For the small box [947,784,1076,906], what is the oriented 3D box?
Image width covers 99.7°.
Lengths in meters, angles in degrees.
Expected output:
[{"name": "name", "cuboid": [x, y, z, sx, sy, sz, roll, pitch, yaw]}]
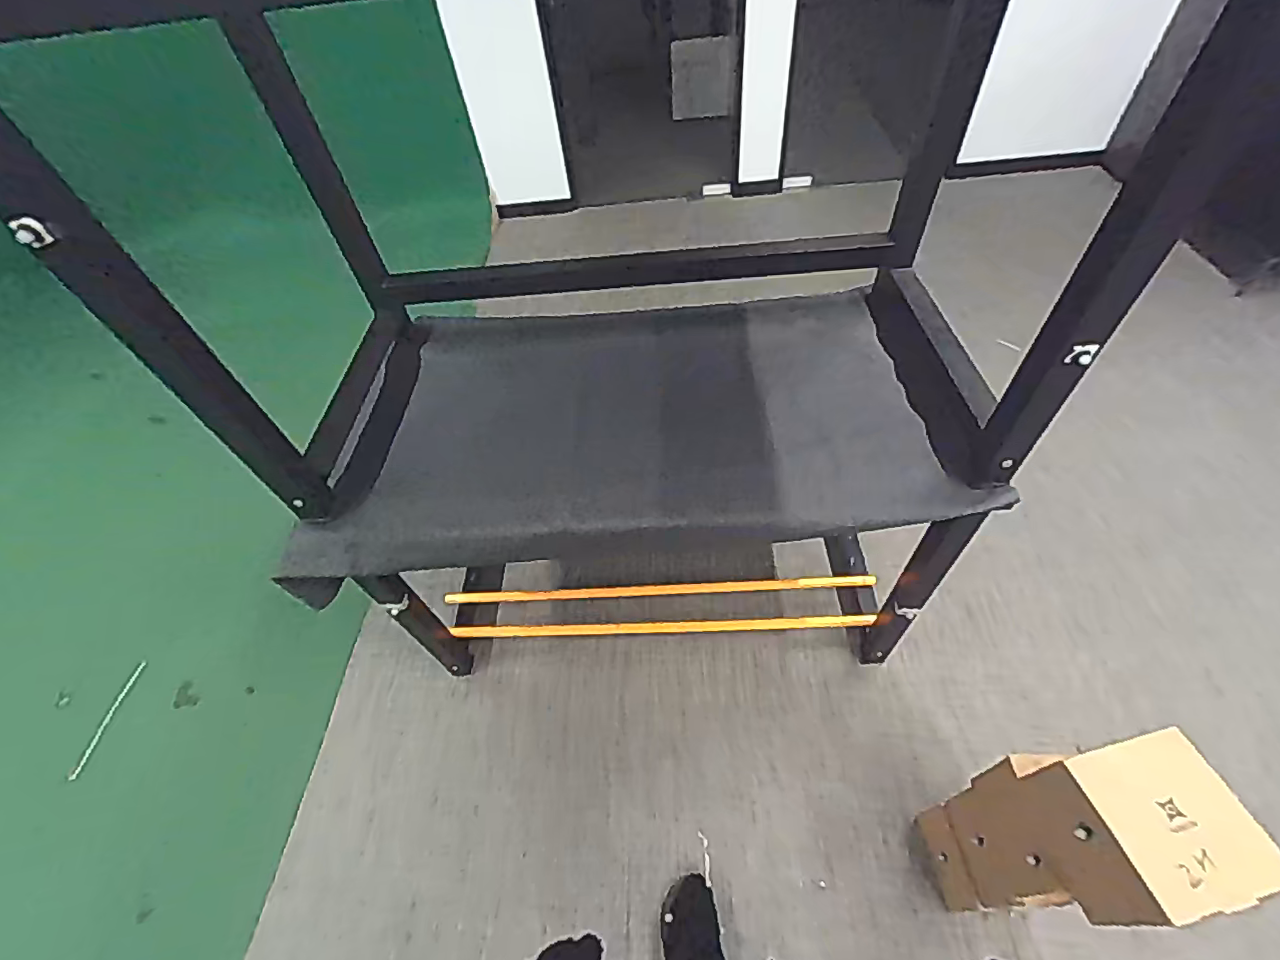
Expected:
[{"name": "small box", "cuboid": [0.686, 0.649, 0.966, 0.168, 0.176, 0.179, -5, 50, 3]}]

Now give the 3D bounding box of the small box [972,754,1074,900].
[{"name": "small box", "cuboid": [0.658, 0.543, 0.845, 0.168, 0.176, 0.179, -3, 51, 5]}]

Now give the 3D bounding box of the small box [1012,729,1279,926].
[{"name": "small box", "cuboid": [0.641, 0.455, 0.707, 0.168, 0.176, 0.179, -14, 51, -3]}]
